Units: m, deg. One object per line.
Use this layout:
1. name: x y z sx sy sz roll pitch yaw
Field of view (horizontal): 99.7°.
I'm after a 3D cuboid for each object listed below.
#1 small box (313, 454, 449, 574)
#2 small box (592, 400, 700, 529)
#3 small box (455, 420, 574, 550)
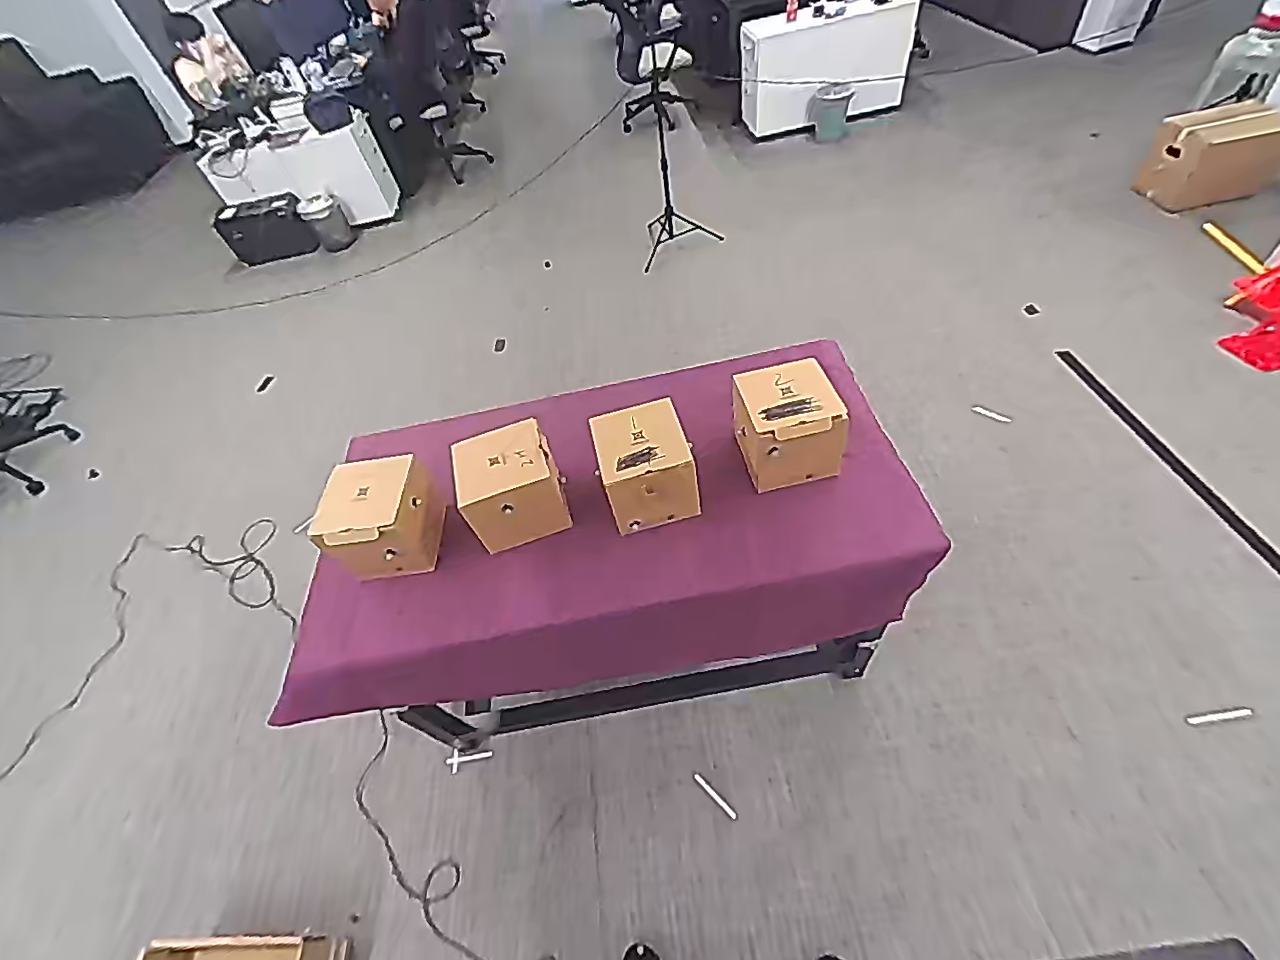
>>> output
1. small box: -0.501 0.075 1.077 0.168 0.176 0.179 -7 50 4
2. small box: 0.014 -0.022 1.057 0.168 0.176 0.179 -15 50 -1
3. small box: -0.248 0.015 1.076 0.179 0.176 0.168 -18 51 -4
